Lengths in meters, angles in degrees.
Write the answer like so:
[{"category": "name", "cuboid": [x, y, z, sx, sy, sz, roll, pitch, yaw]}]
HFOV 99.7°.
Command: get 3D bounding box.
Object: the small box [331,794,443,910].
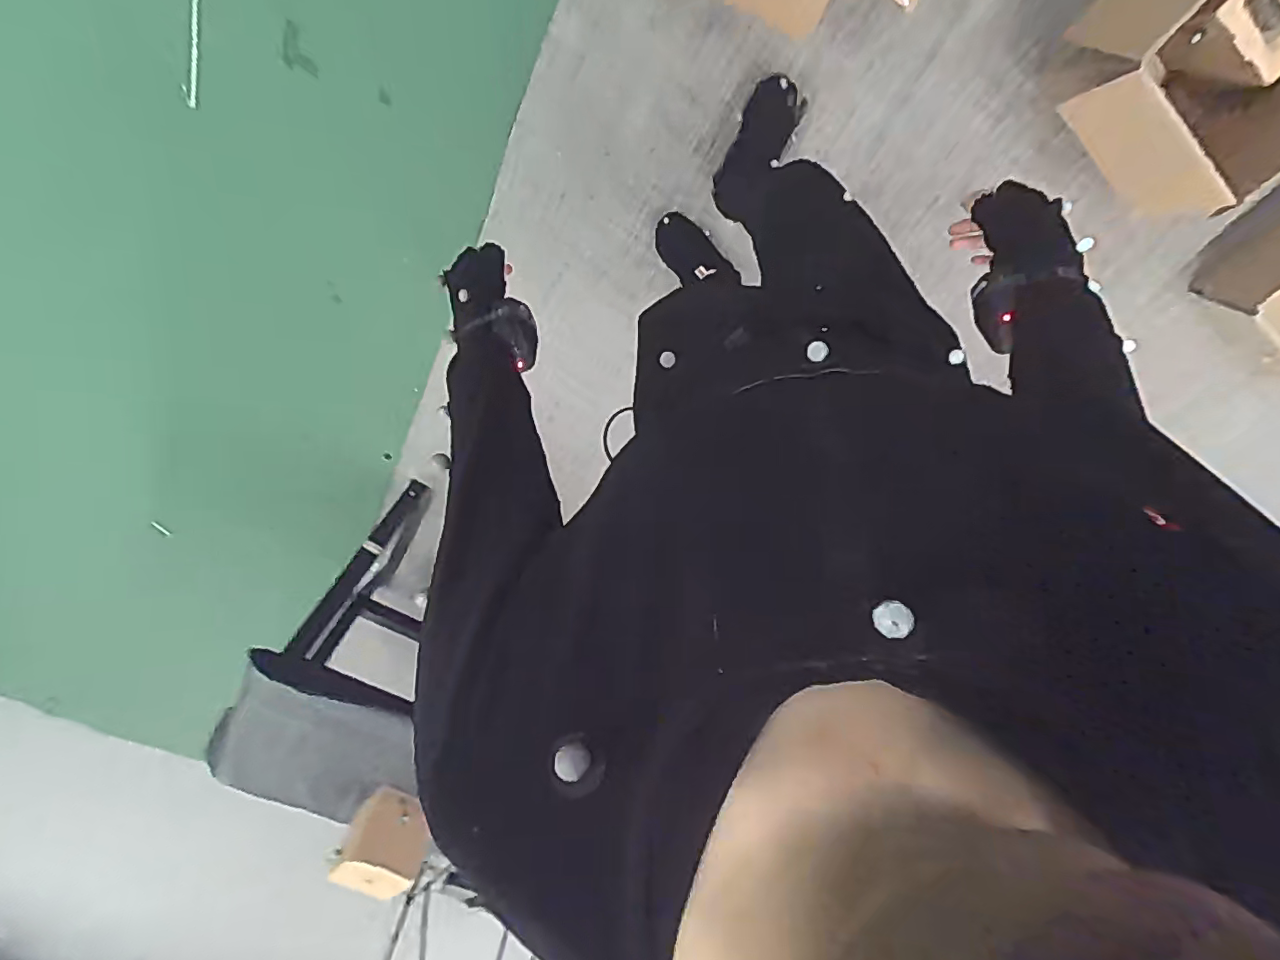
[{"category": "small box", "cuboid": [-0.618, 0.919, 1.339, 0.168, 0.176, 0.179, 36, 119, -16]}]
